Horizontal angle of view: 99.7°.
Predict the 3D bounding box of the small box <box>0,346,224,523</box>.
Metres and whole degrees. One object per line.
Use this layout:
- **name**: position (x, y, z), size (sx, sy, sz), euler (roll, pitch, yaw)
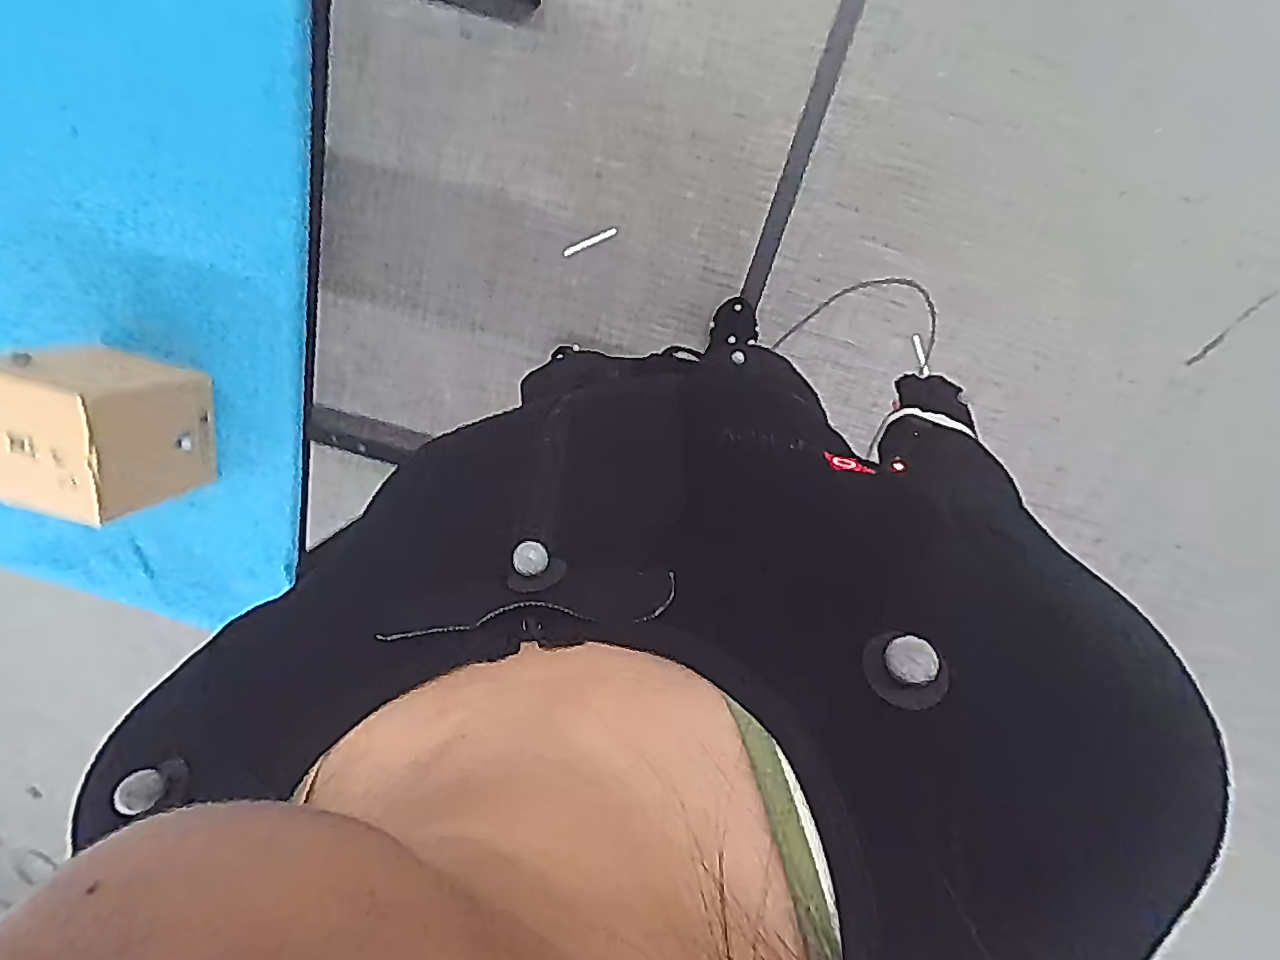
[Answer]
- **small box**: position (-0.703, -0.071, 0.716), size (0.179, 0.176, 0.168), euler (18, 112, -1)
